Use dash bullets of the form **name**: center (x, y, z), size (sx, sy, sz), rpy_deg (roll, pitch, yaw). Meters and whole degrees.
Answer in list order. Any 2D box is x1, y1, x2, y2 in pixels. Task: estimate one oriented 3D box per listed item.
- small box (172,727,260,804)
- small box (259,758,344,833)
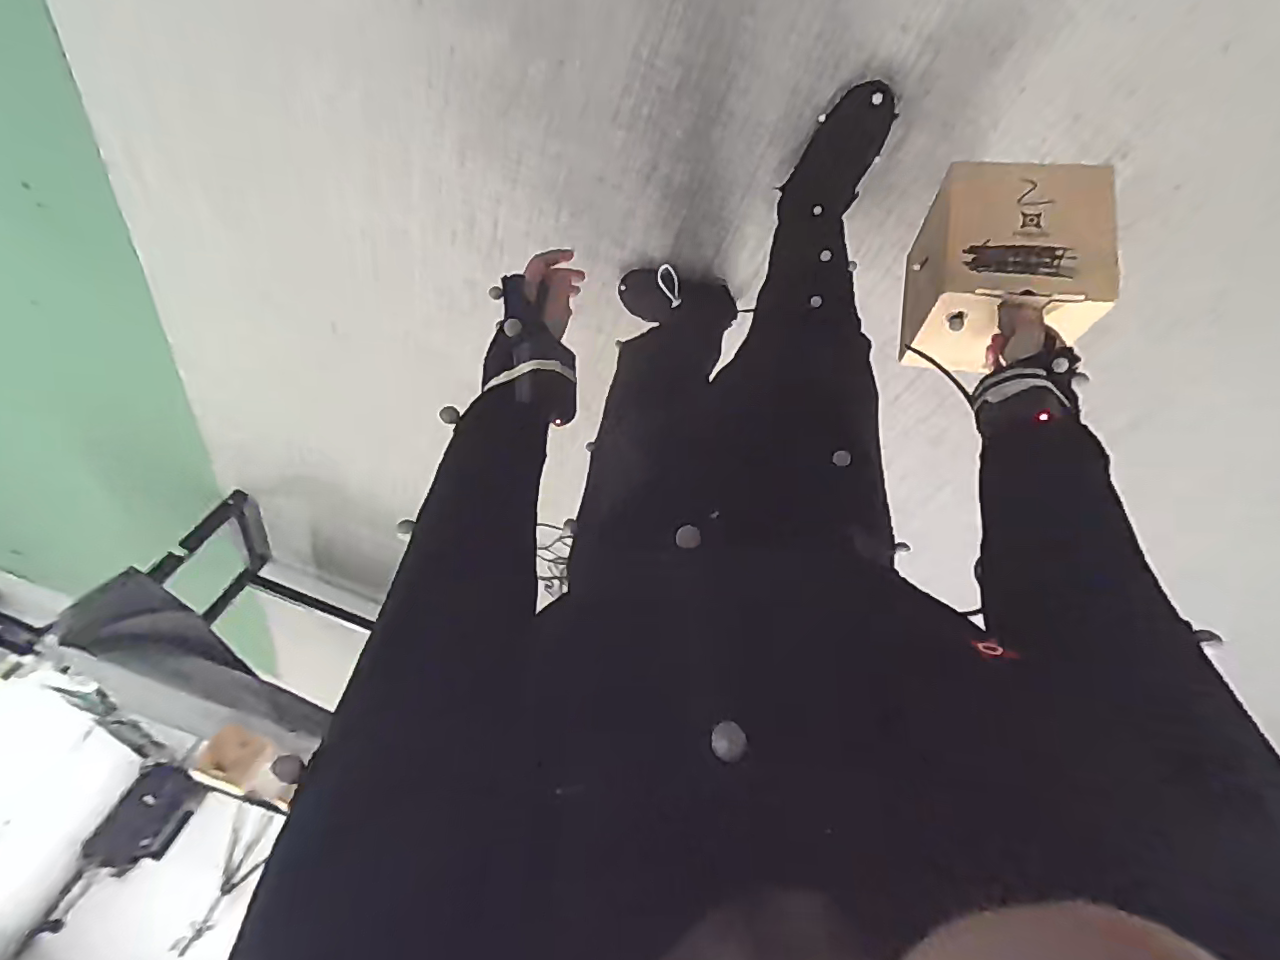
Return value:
- **small box**: center (-1.430, 0.969, 1.838), size (0.168, 0.176, 0.179), rpy_deg (29, 134, -10)
- **small box**: center (-1.153, 1.079, 1.856), size (0.168, 0.176, 0.179), rpy_deg (20, 137, 0)
